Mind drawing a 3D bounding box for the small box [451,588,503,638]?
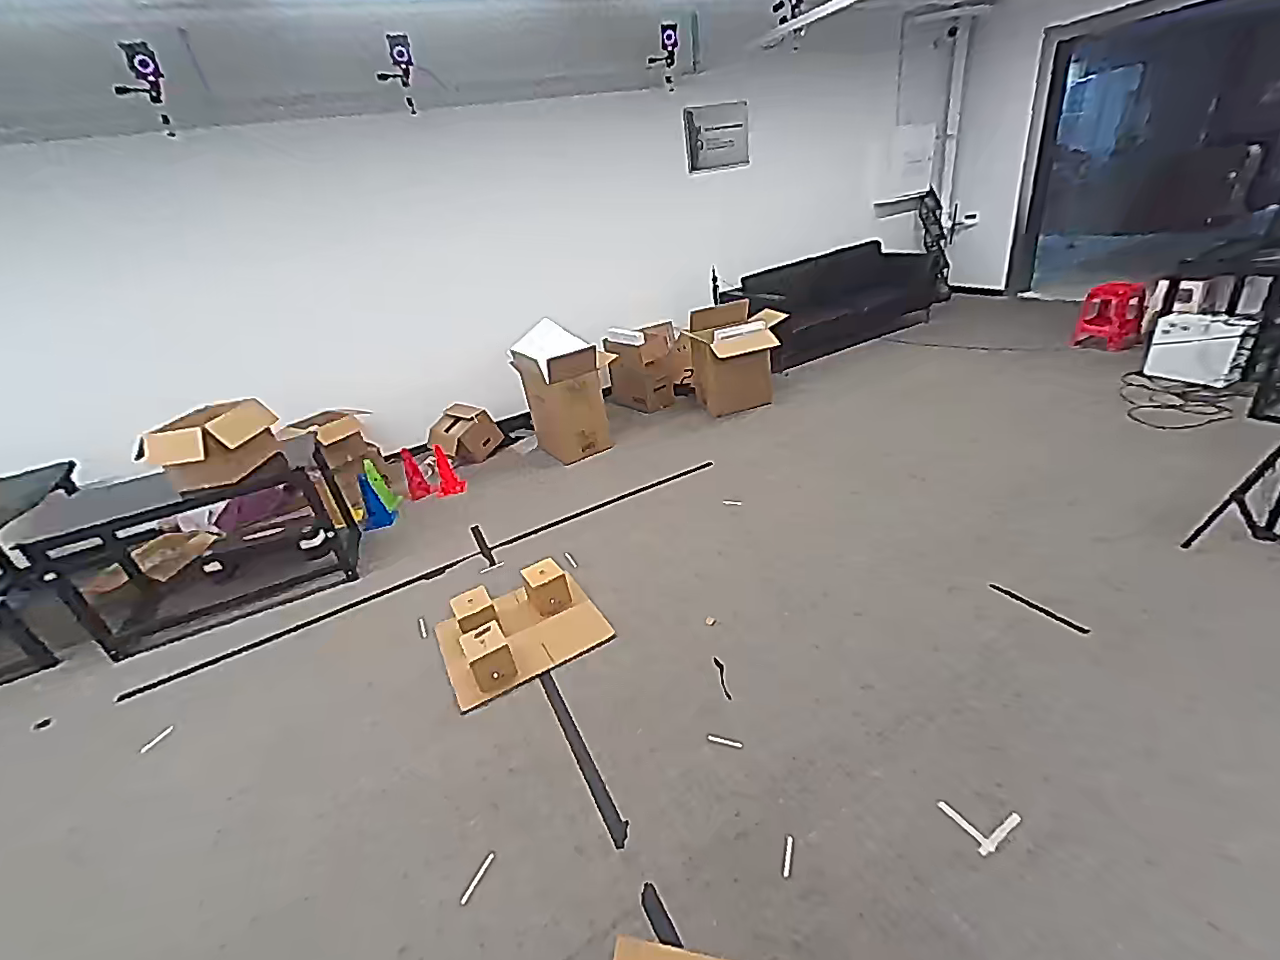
[{"bbox_3d":[-0.750,0.636,2.490,0.168,0.176,0.179,-22,30,-22],"label":"small box"}]

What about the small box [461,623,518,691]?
[{"bbox_3d":[-0.628,0.740,2.254,0.168,0.176,0.179,-23,31,-23],"label":"small box"}]

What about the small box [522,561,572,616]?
[{"bbox_3d":[-0.451,0.526,2.619,0.168,0.176,0.179,-24,30,-25],"label":"small box"}]
